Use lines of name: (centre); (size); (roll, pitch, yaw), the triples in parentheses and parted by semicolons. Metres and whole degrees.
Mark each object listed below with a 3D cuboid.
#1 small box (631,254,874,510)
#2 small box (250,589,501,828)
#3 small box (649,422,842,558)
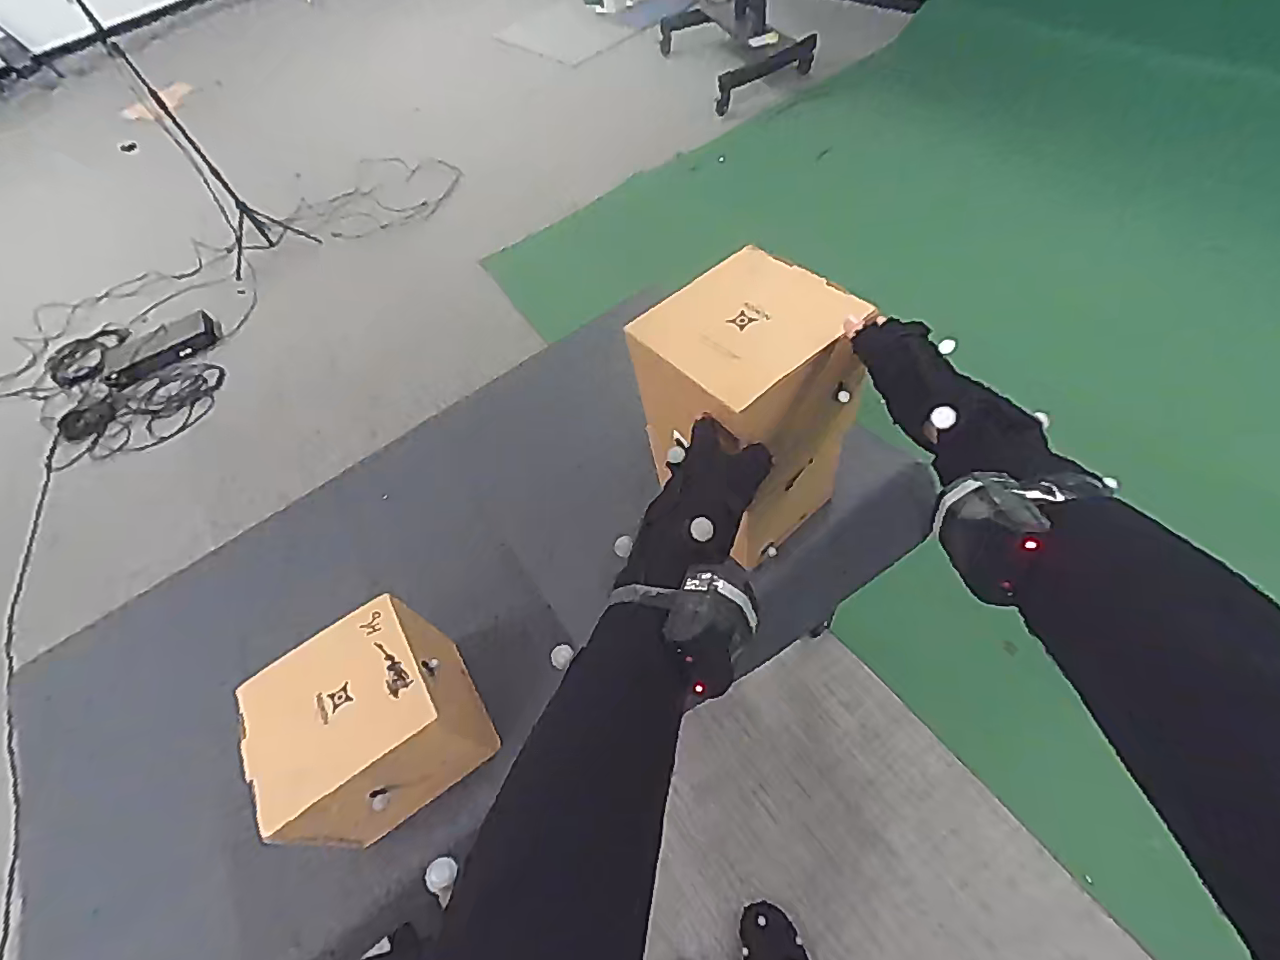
small box: (0.117, -0.103, 0.587); (0.179, 0.176, 0.168); (-38, 56, -13)
small box: (-0.290, 0.264, 0.614); (0.179, 0.176, 0.168); (-33, 55, -12)
small box: (0.139, -0.019, 0.724); (0.168, 0.176, 0.179); (-38, 57, -15)
